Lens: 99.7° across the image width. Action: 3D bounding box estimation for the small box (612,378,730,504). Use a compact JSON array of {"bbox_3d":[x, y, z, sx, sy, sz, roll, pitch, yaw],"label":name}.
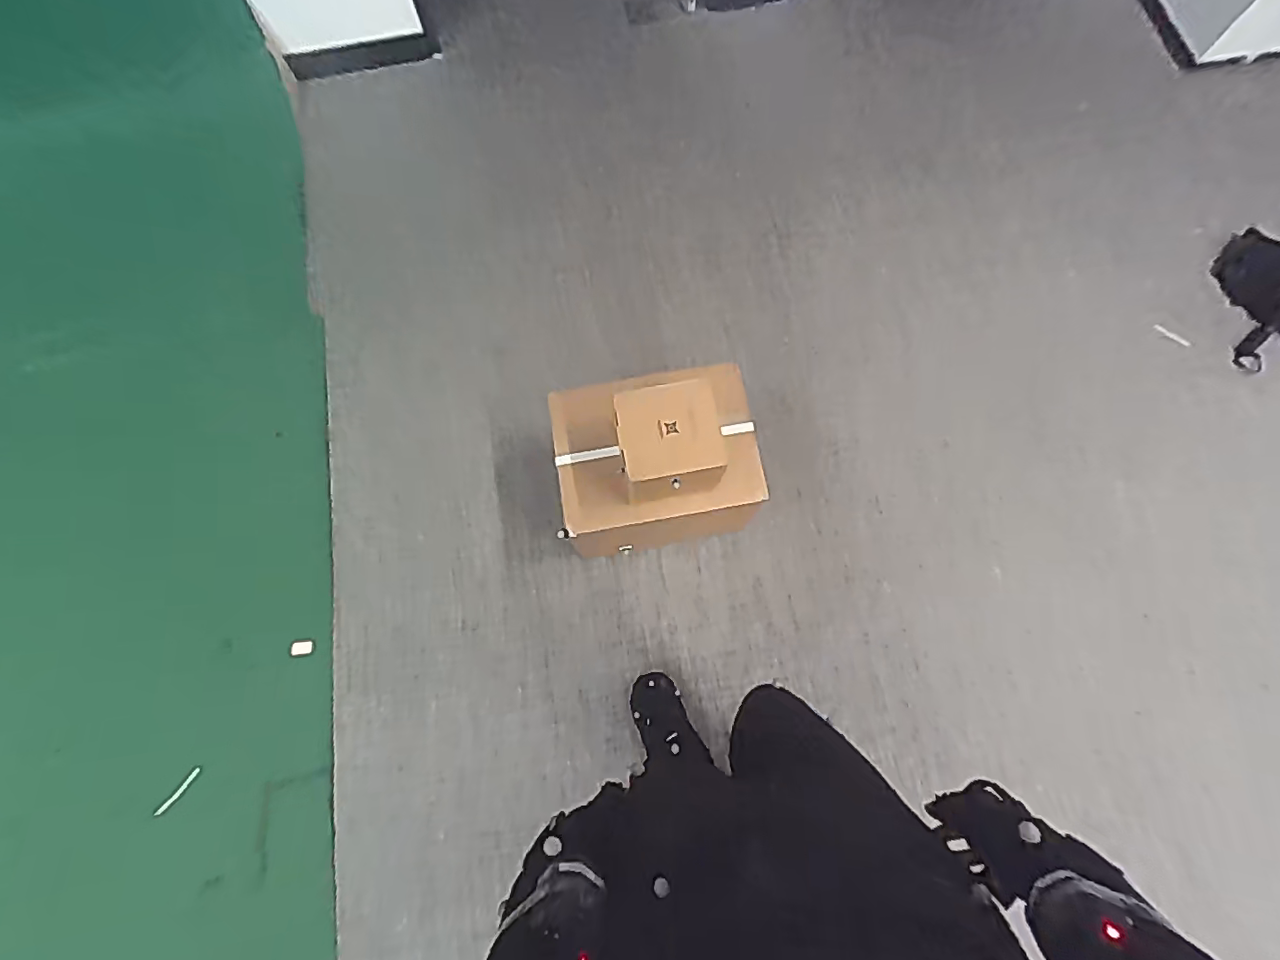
[{"bbox_3d":[0.053,-0.064,0.999,0.179,0.176,0.168,-12,75,-3],"label":"small box"}]
